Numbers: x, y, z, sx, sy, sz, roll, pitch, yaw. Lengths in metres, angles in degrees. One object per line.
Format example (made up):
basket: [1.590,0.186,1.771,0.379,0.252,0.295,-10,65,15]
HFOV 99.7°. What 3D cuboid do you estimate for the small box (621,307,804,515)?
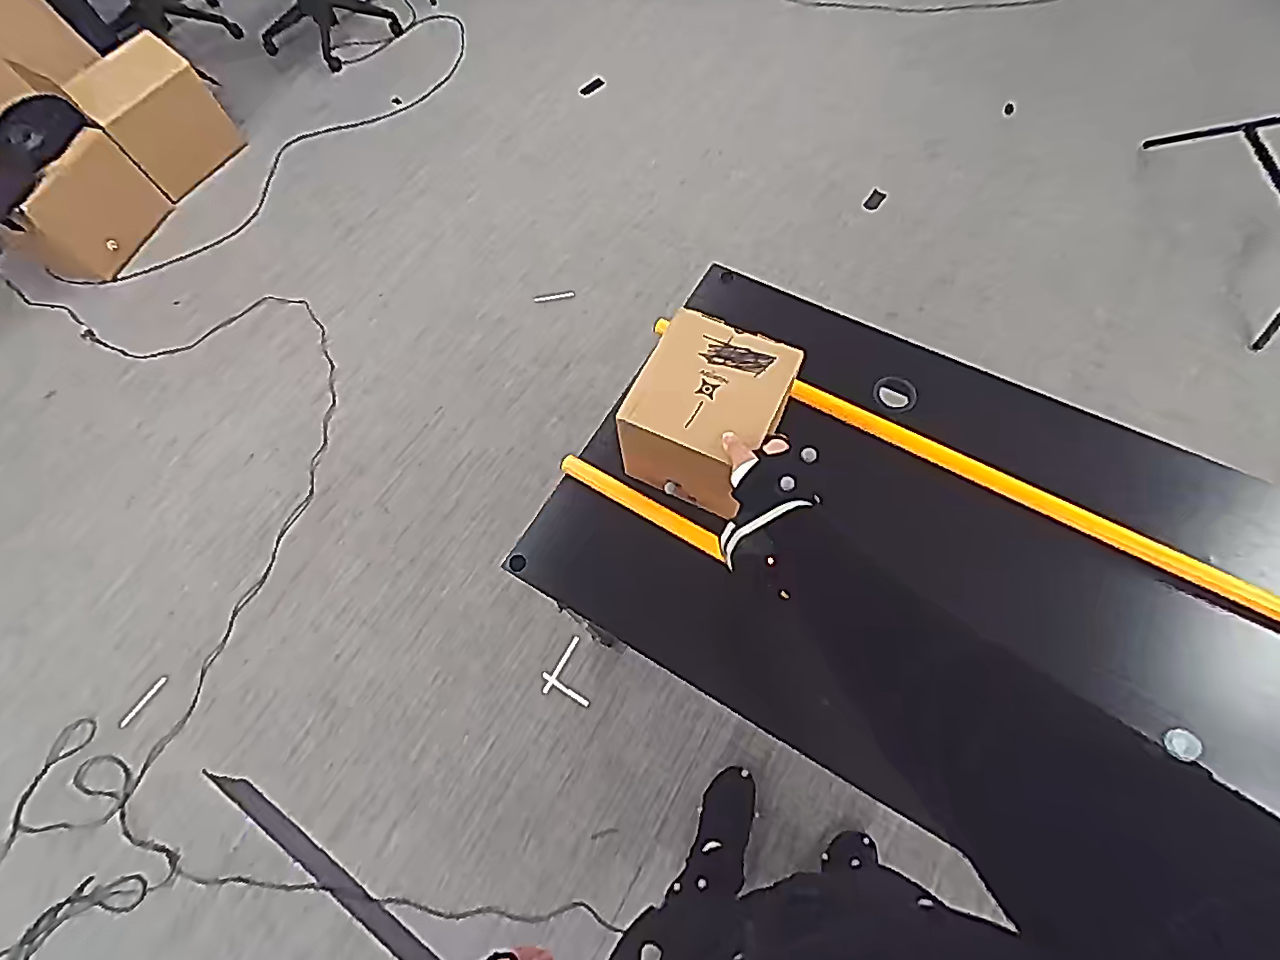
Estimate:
small box: [0.089,-0.082,0.704,0.168,0.176,0.179,24,71,13]
